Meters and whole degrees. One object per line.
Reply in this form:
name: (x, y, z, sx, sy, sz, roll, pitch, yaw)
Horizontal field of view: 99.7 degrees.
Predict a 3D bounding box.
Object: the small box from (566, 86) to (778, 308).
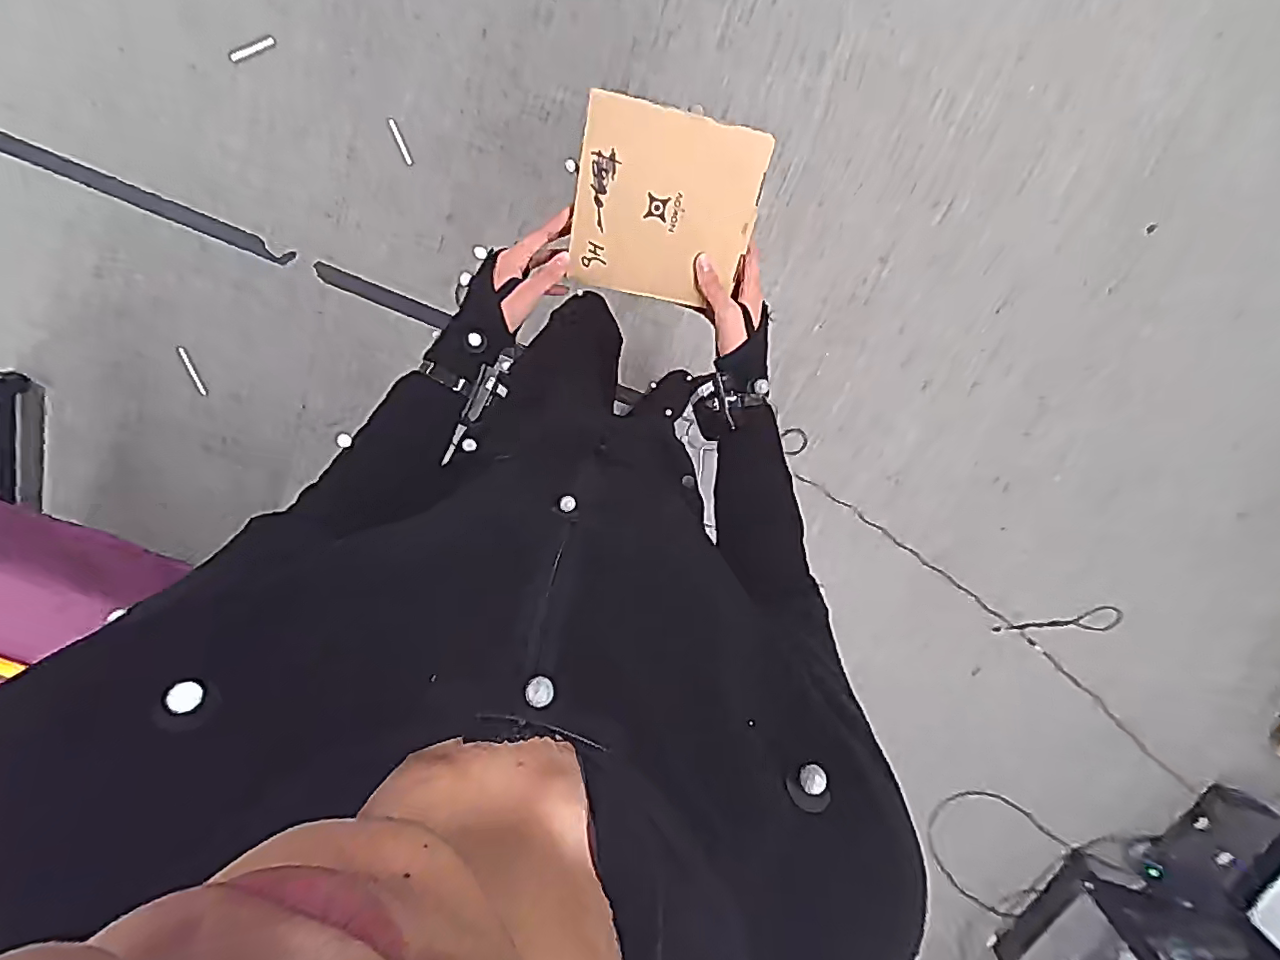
small box: (0.021, -0.304, 0.586, 0.179, 0.176, 0.168, 8, 121, -9)
